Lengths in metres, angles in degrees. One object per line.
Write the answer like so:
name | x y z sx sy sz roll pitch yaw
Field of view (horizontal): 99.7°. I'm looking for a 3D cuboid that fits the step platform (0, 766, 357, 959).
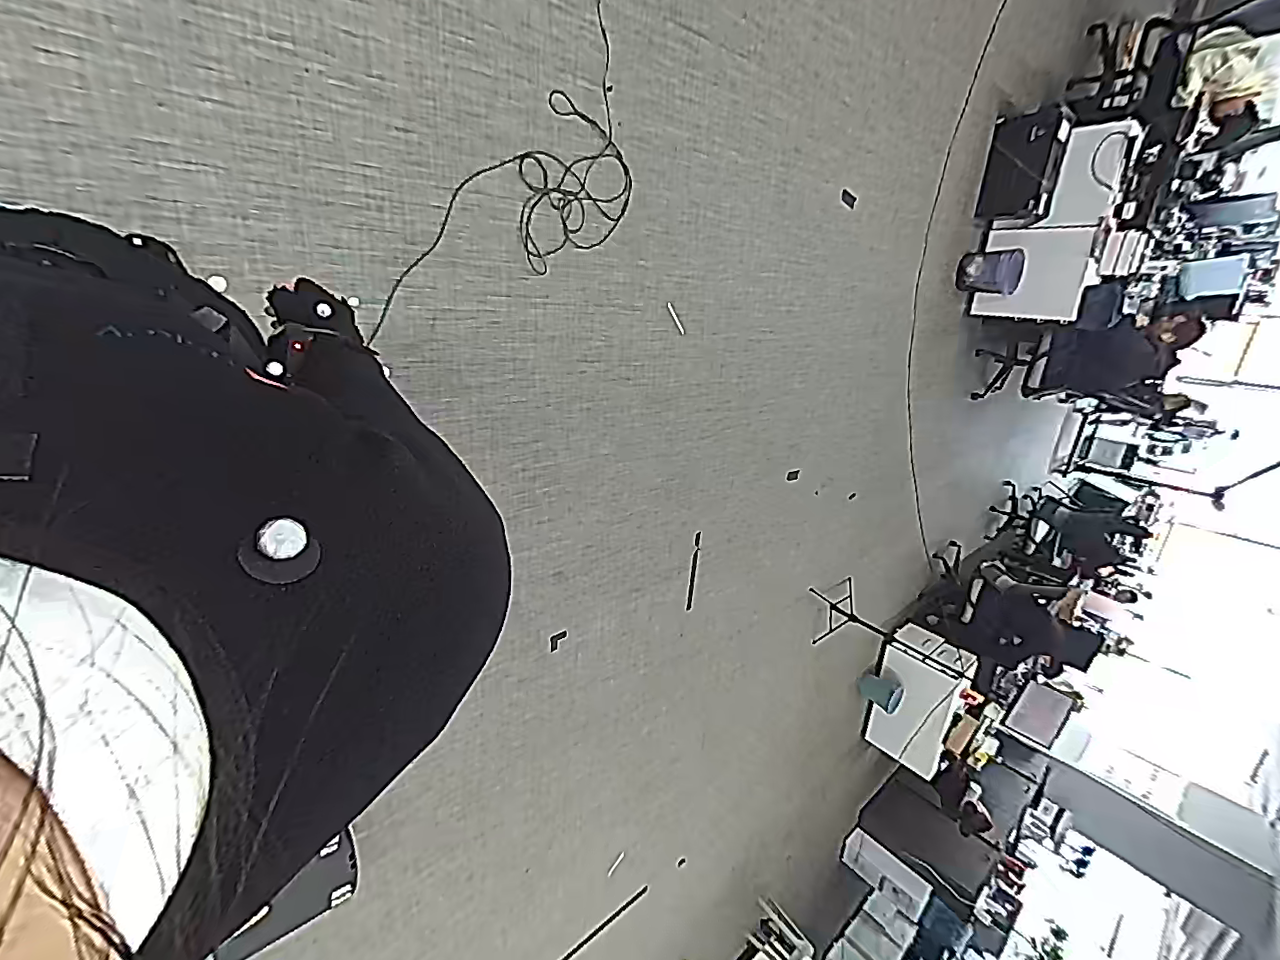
step platform | -1.103 1.045 1.368 0.684 0.204 0.286 -14 116 -38
